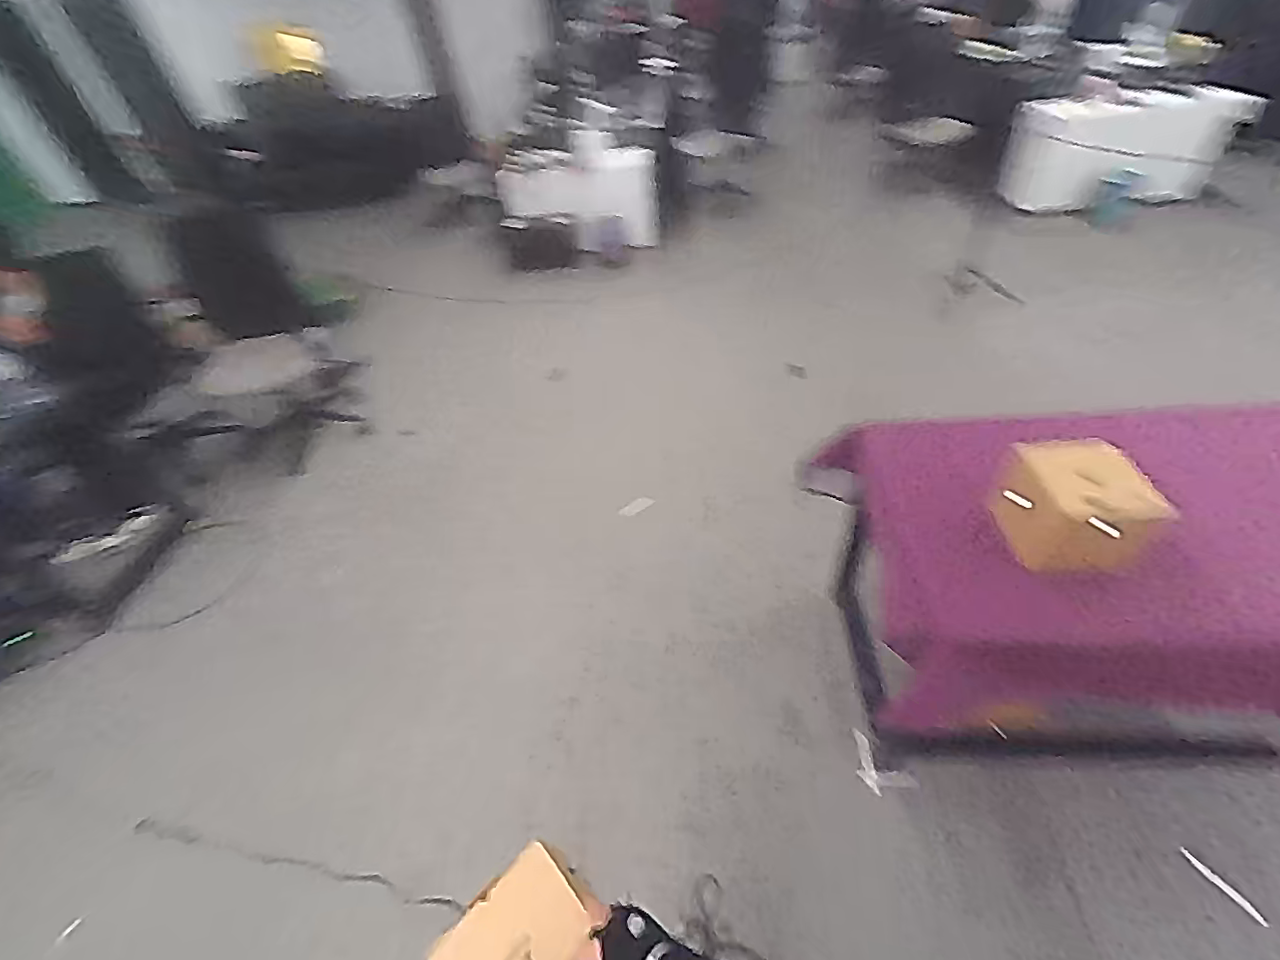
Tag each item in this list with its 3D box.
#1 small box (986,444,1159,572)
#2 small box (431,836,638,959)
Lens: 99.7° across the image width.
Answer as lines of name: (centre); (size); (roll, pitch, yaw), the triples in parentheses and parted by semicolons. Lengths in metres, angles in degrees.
small box: (0.791, 0.053, 1.017); (0.168, 0.176, 0.179); (-3, 44, 5)
small box: (-0.120, 0.589, 0.667); (0.168, 0.176, 0.179); (-37, 56, -21)
